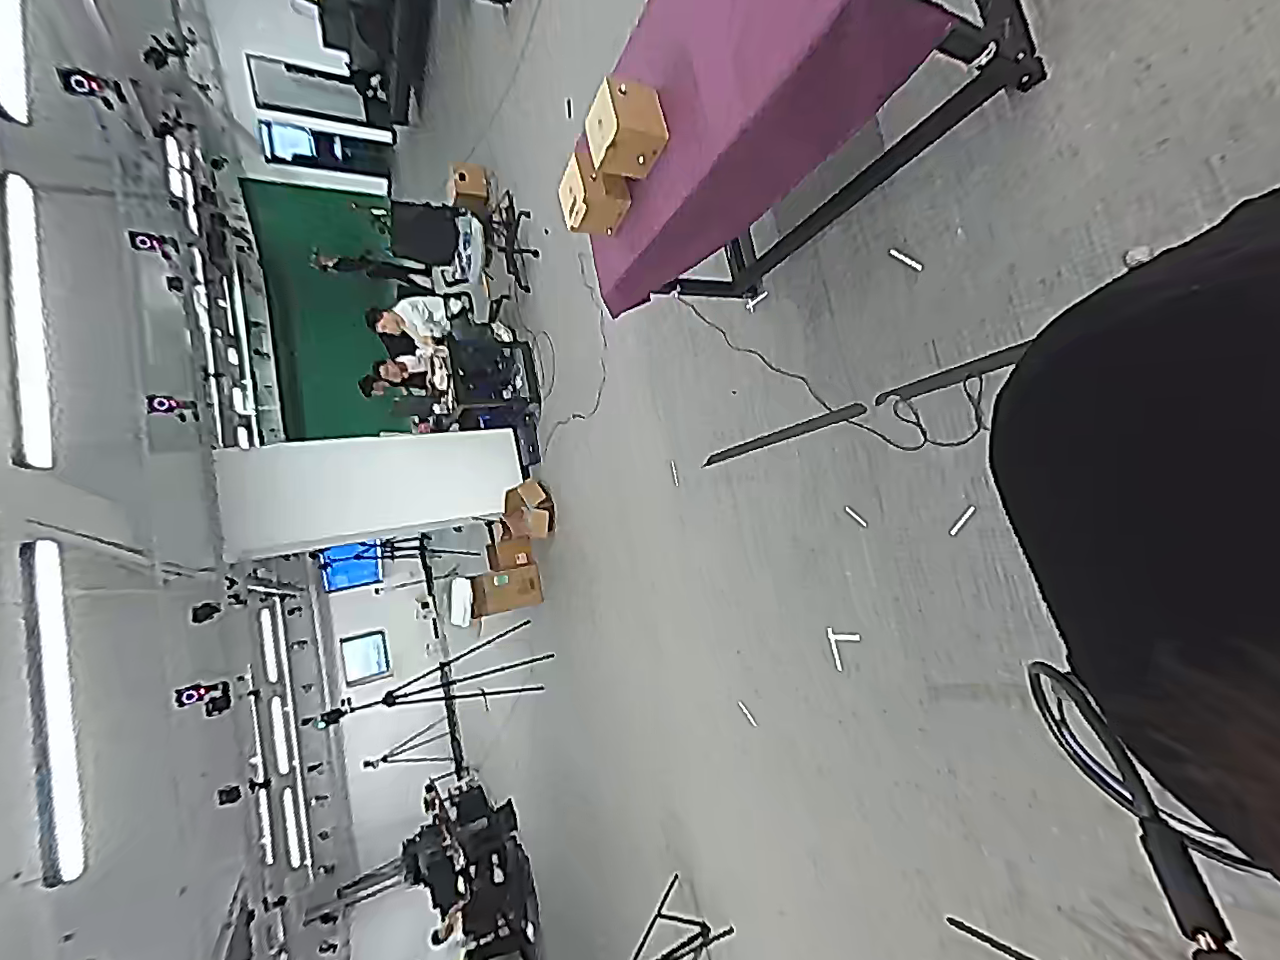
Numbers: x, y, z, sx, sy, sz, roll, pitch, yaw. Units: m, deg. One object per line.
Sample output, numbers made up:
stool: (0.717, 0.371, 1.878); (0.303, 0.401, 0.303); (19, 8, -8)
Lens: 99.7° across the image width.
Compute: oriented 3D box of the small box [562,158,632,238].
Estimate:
small box: (-0.143, -0.941, 1.822); (0.168, 0.176, 0.179); (-38, 63, 57)

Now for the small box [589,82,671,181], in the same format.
small box: (-0.031, -1.024, 1.606); (0.168, 0.176, 0.179); (-31, 69, 59)
